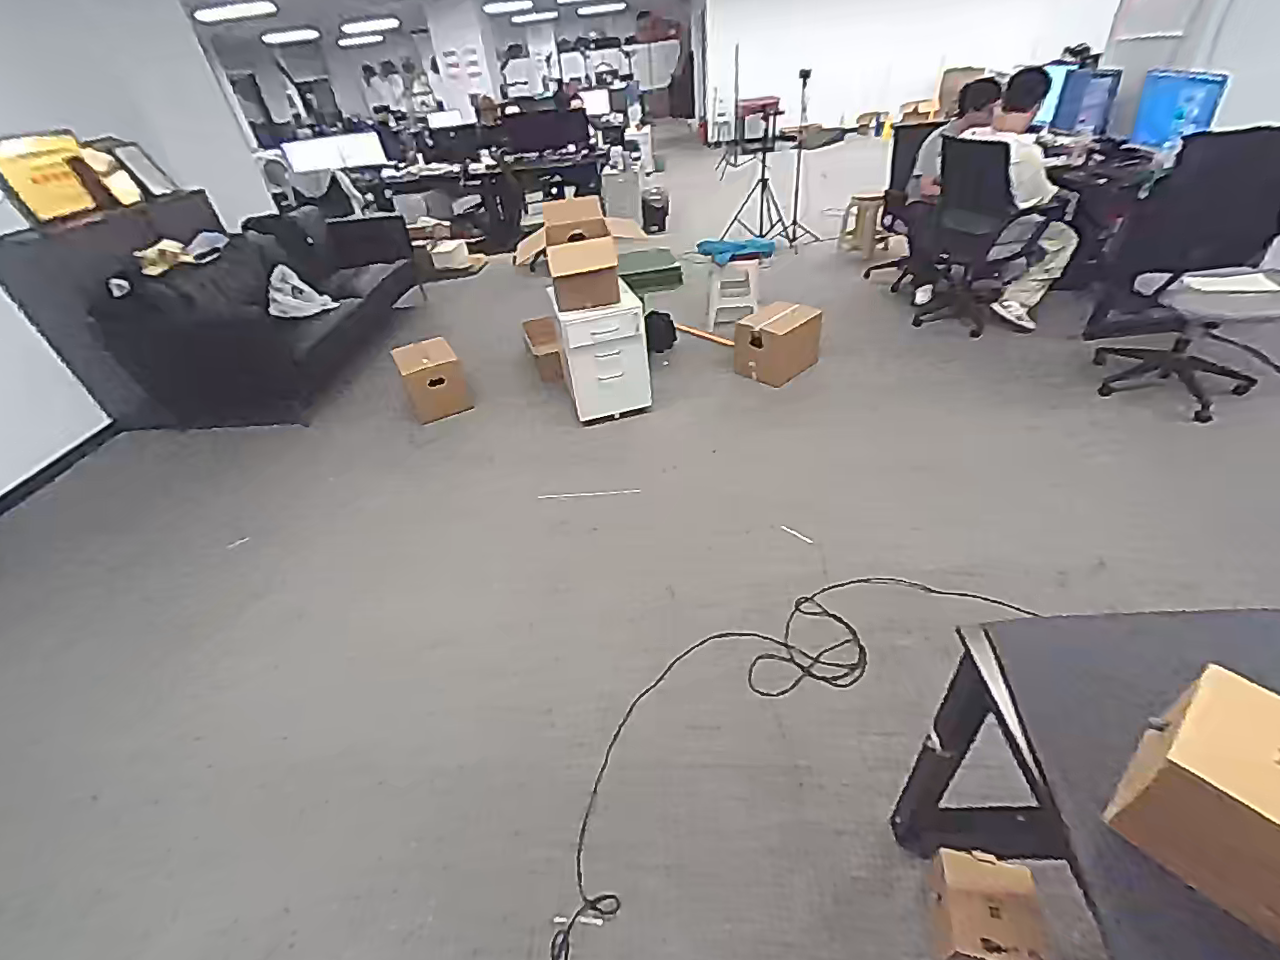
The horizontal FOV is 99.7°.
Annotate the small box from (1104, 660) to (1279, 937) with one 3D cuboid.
[{"bbox_3d":[0.661,0.344,0.589,0.168,0.176,0.179,-30,43,-28],"label":"small box"}]

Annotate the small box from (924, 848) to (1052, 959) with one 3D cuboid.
[{"bbox_3d":[0.684,0.885,1.082,0.168,0.176,0.179,4,38,15],"label":"small box"}]
